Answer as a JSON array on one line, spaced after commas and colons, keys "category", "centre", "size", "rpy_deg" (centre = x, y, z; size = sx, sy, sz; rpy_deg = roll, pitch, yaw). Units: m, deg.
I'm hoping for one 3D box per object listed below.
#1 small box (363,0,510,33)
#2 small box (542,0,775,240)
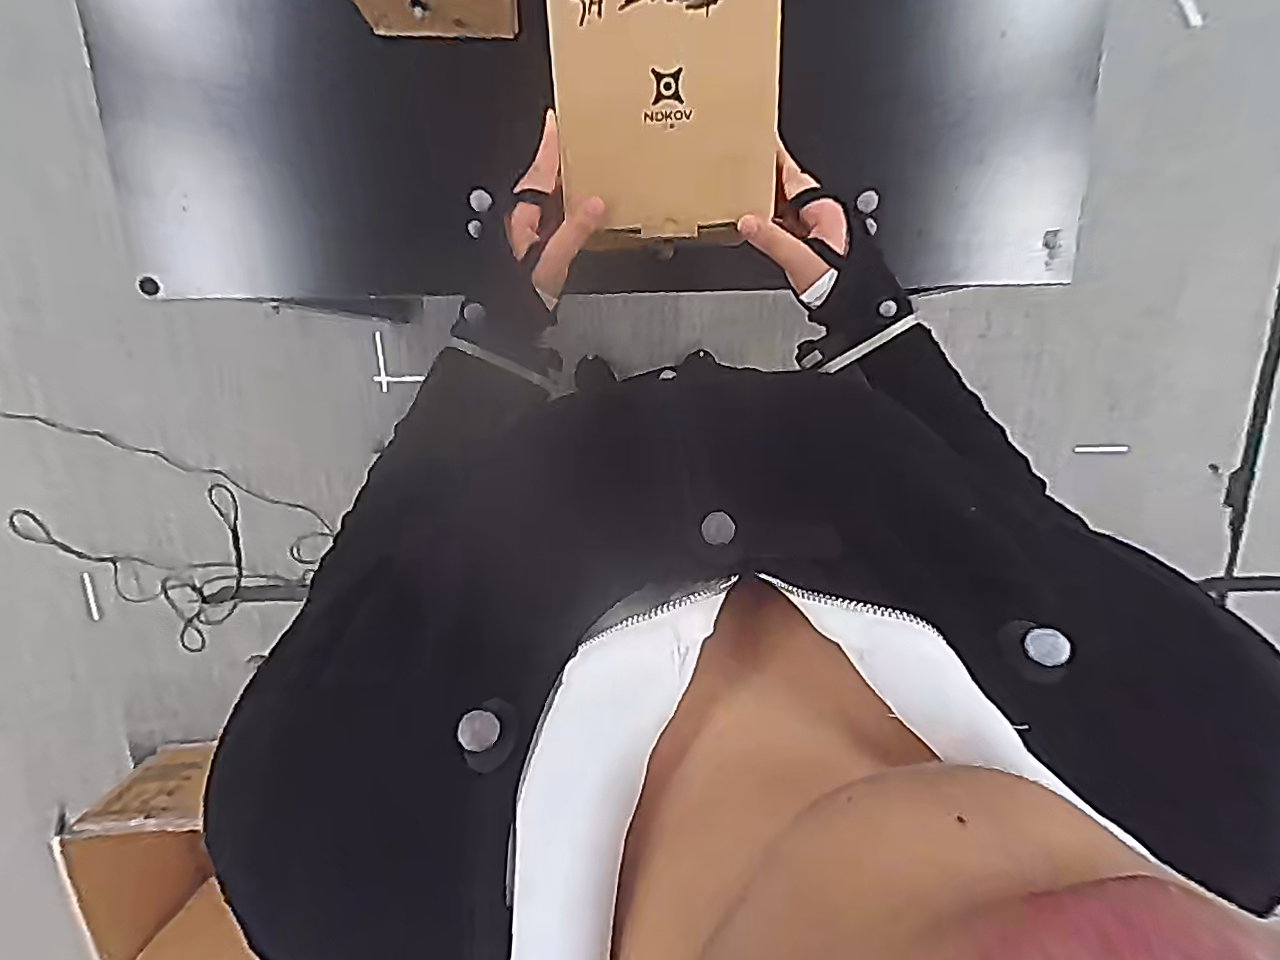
[{"category": "small box", "centre": [-0.228, -0.595, 0.536], "size": [0.168, 0.176, 0.179], "rpy_deg": [-1, 103, -2]}, {"category": "small box", "centre": [0.018, -0.310, 0.473], "size": [0.168, 0.176, 0.179], "rpy_deg": [-3, 110, 2]}]
